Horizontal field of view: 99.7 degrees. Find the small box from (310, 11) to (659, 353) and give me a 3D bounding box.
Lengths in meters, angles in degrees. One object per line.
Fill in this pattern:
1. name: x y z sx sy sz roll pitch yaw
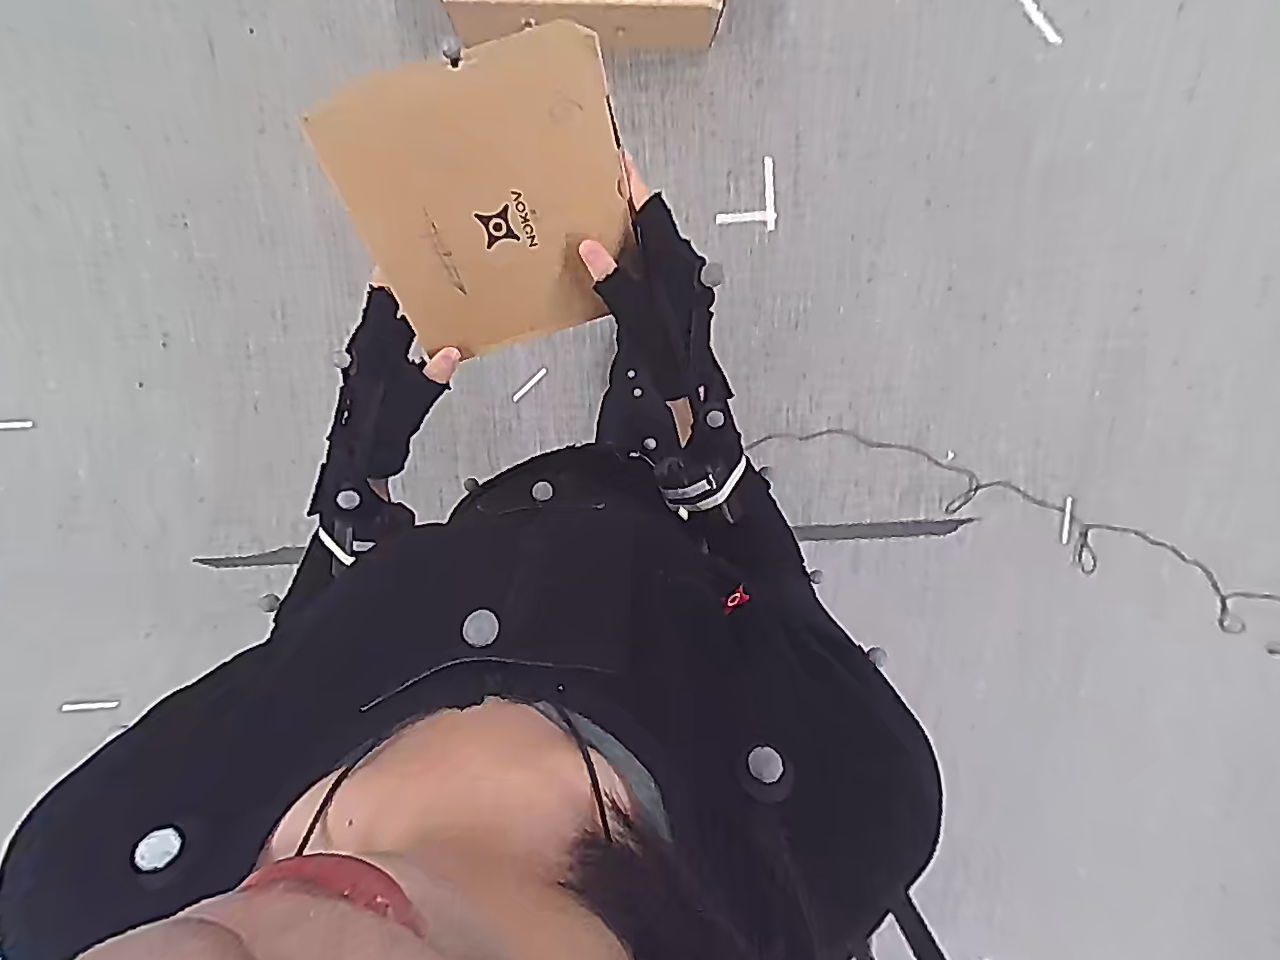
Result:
1. small box: -0.101 -0.228 0.406 0.179 0.176 0.168 -17 132 -1
